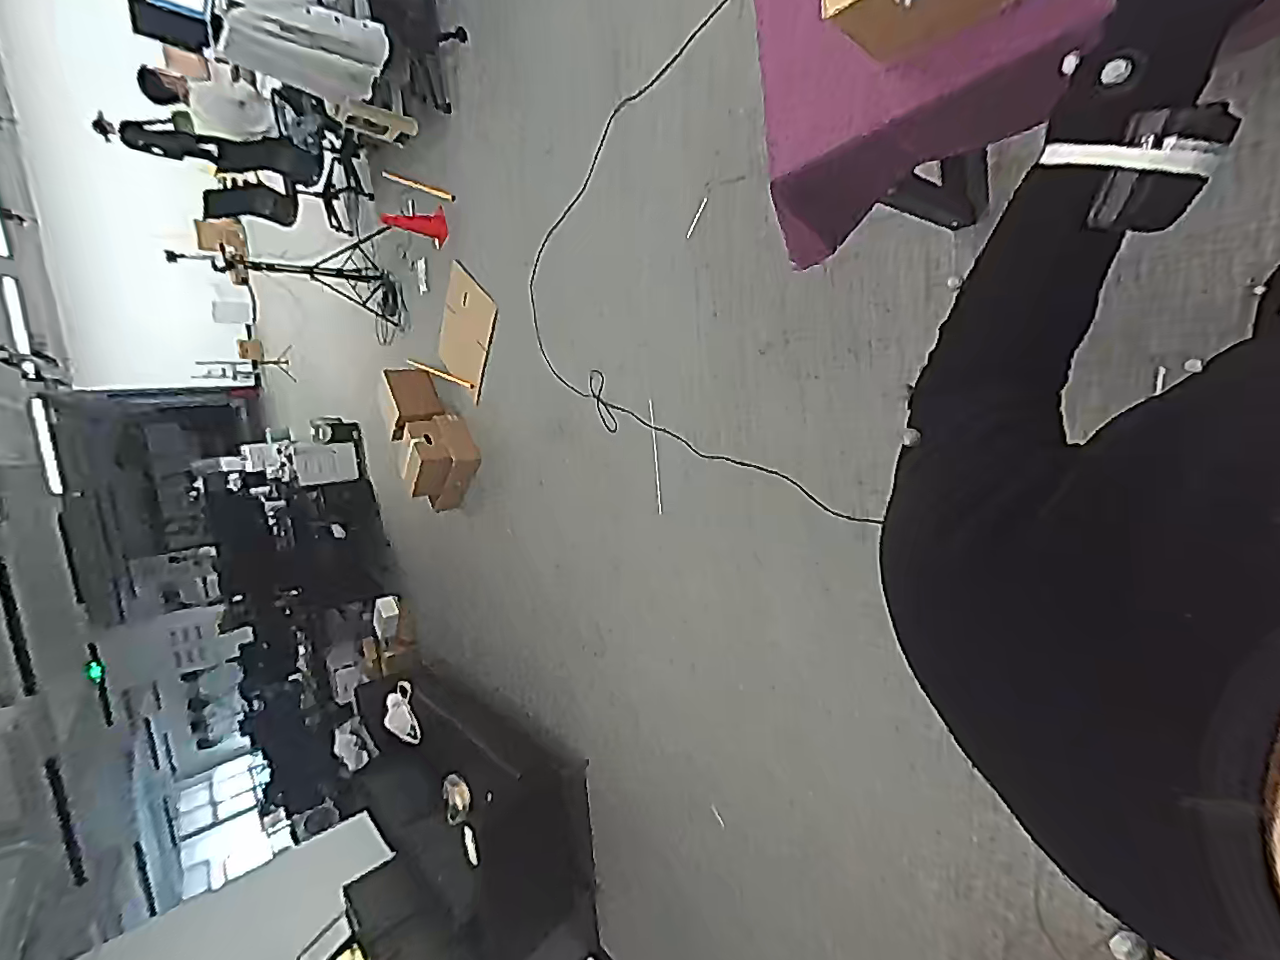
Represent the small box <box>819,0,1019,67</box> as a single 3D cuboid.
[{"bbox_3d":[0.322,-0.614,0.607,0.179,0.176,0.168,4,102,48],"label":"small box"}]
